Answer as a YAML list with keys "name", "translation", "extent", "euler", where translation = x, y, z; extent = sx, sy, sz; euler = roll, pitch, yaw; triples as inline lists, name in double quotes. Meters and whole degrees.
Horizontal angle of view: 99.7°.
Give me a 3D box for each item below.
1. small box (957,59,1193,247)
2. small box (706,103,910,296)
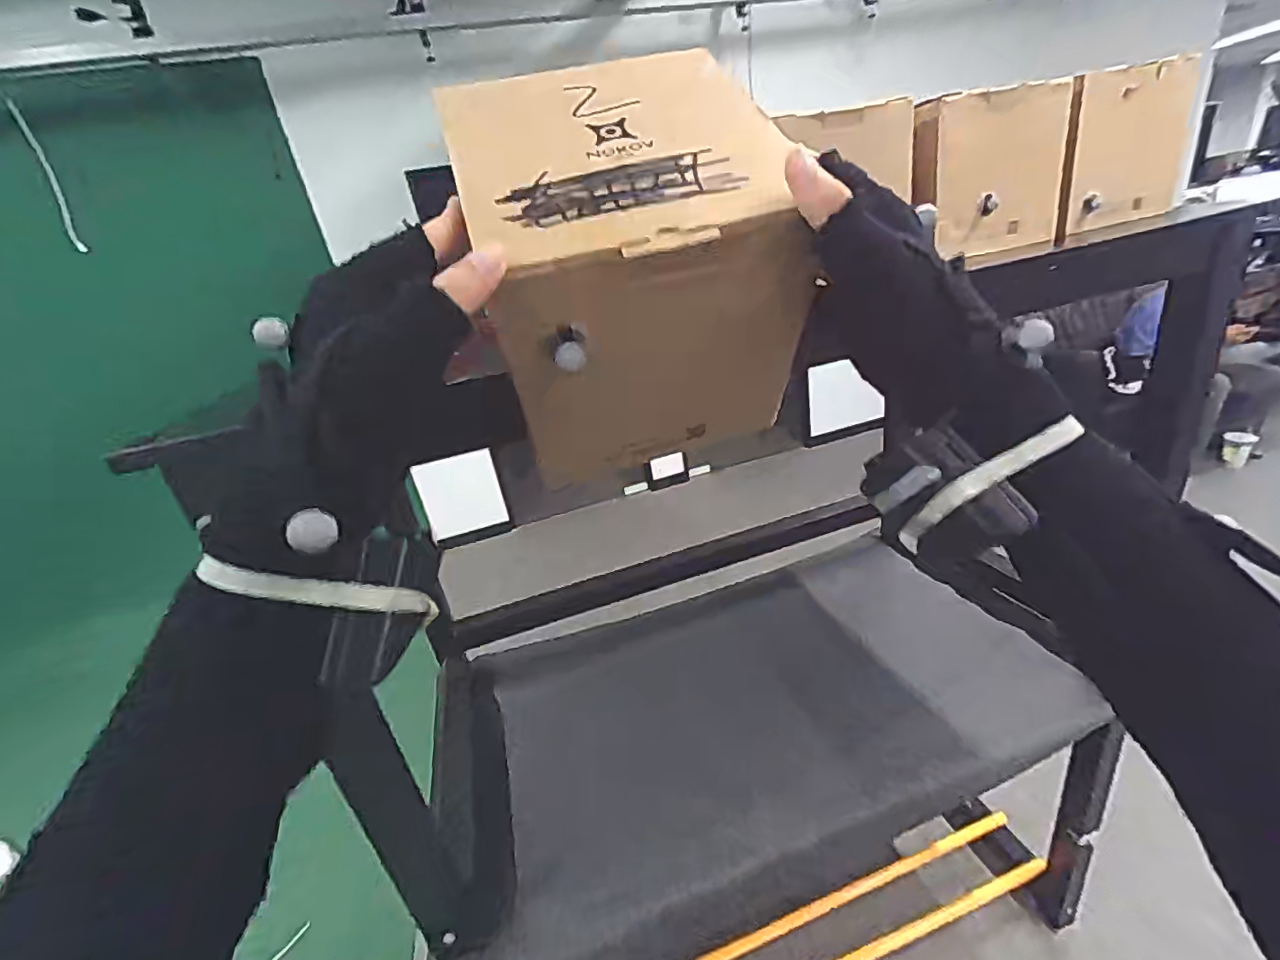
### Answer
- name: "small box"
  translation: [0.553, -0.414, 0.714]
  extent: [0.168, 0.176, 0.179]
  euler: [-14, 22, -9]
- name: "small box"
  translation: [0.190, -0.318, 0.643]
  extent: [0.168, 0.176, 0.179]
  euler: [-14, 23, -10]
